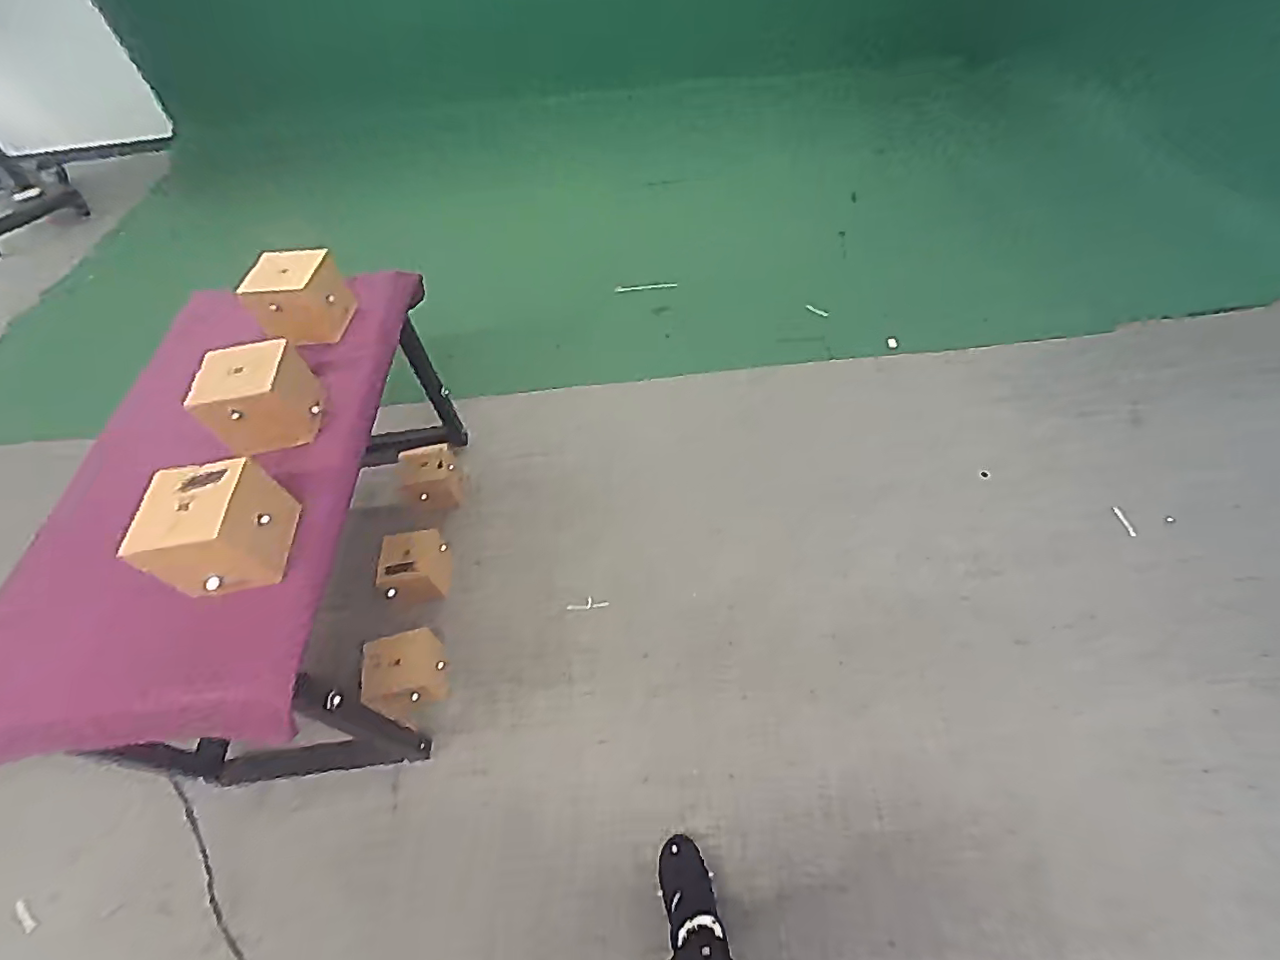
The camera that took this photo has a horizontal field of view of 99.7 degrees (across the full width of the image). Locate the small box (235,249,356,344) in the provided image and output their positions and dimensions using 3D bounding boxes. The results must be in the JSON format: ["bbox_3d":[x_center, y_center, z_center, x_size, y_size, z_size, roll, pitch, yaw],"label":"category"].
[{"bbox_3d":[-0.873,-0.469,1.392,0.179,0.176,0.168,-2,54,5],"label":"small box"}]

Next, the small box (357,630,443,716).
[{"bbox_3d":[-0.666,0.547,1.526,0.179,0.176,0.168,-13,53,-5],"label":"small box"}]

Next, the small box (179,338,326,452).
[{"bbox_3d":[-0.826,-0.179,1.173,0.179,0.176,0.168,-10,54,-2],"label":"small box"}]

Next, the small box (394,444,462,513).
[{"bbox_3d":[-0.756,0.000,1.940,0.179,0.176,0.168,-12,53,-4],"label":"small box"}]

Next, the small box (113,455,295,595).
[{"bbox_3d":[-0.759,0.084,0.969,0.168,0.176,0.179,-10,54,-1],"label":"small box"}]
